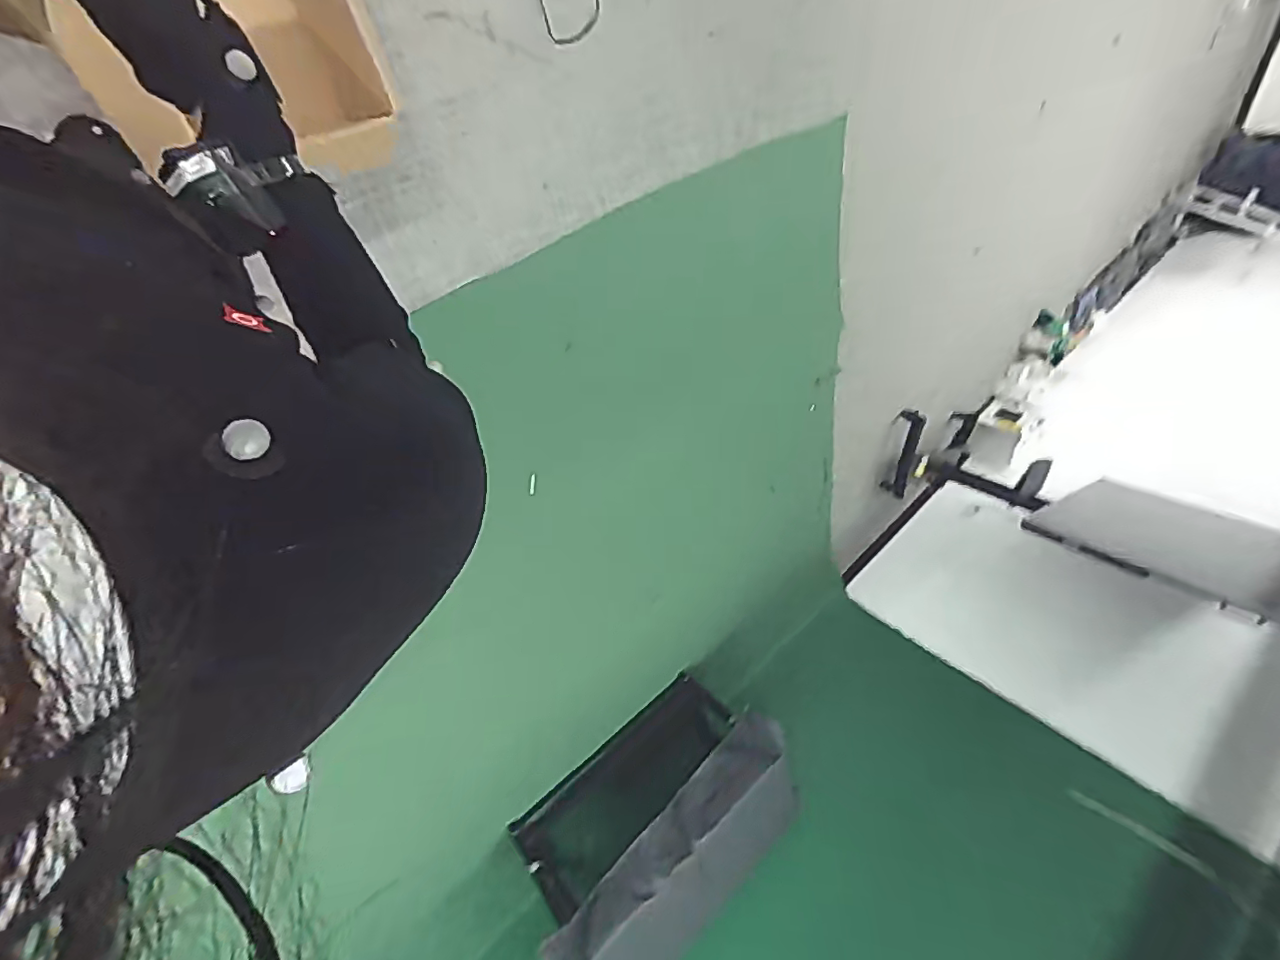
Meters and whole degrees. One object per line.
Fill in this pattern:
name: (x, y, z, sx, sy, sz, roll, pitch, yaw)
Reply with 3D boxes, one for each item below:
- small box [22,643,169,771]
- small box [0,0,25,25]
small box: (-1.244, 0.519, 1.249, 0.179, 0.176, 0.168, -39, 136, -21)
small box: (-0.386, -0.307, 0.201, 0.179, 0.176, 0.168, -9, 115, -32)
